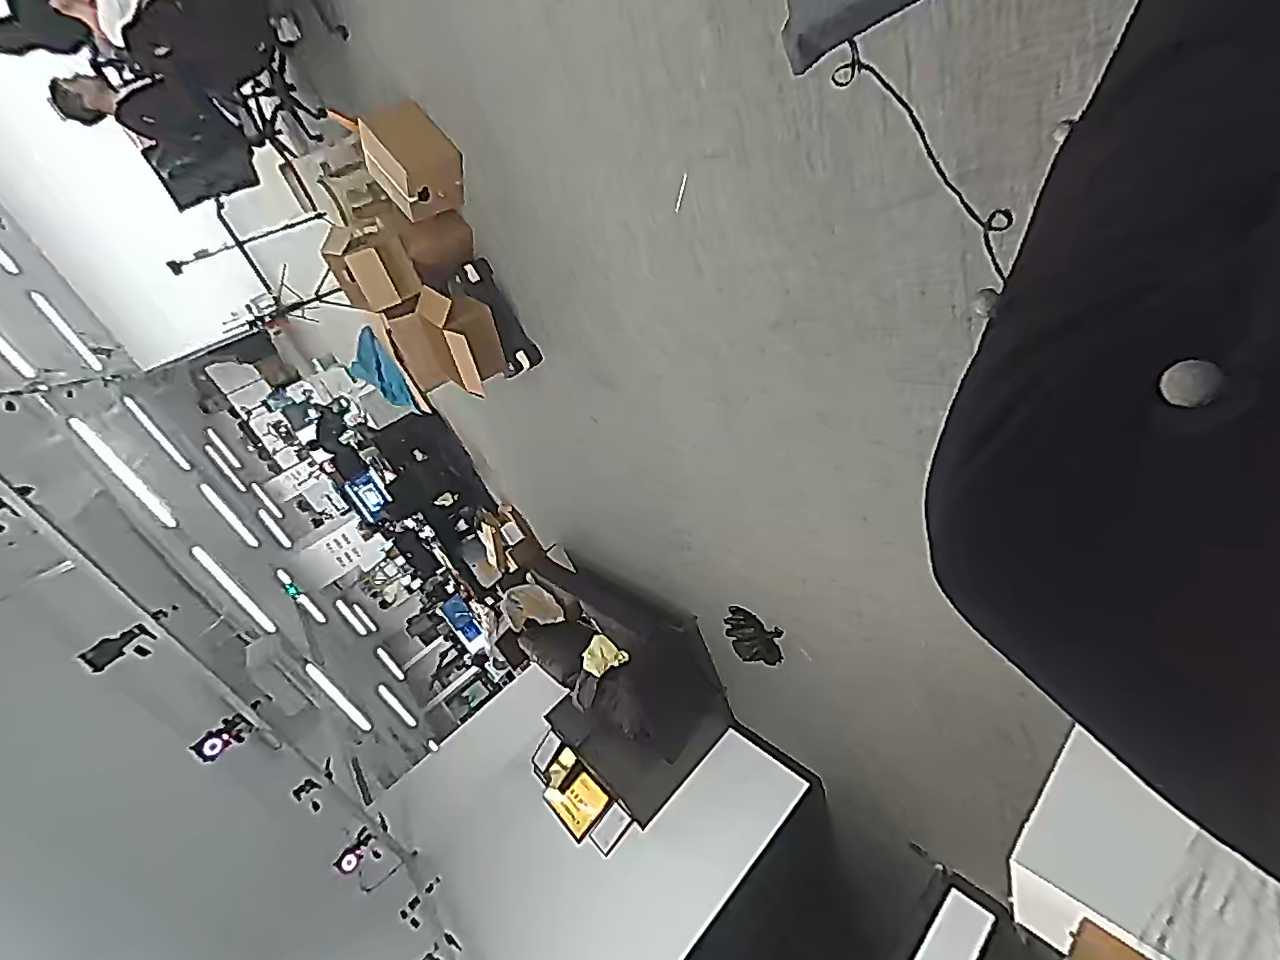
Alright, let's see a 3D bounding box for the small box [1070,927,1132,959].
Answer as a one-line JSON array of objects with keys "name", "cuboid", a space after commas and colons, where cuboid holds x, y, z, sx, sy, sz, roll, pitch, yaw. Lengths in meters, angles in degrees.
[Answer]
[{"name": "small box", "cuboid": [1.205, 1.311, 1.377, 0.179, 0.176, 0.168, 17, 136, 52]}]
